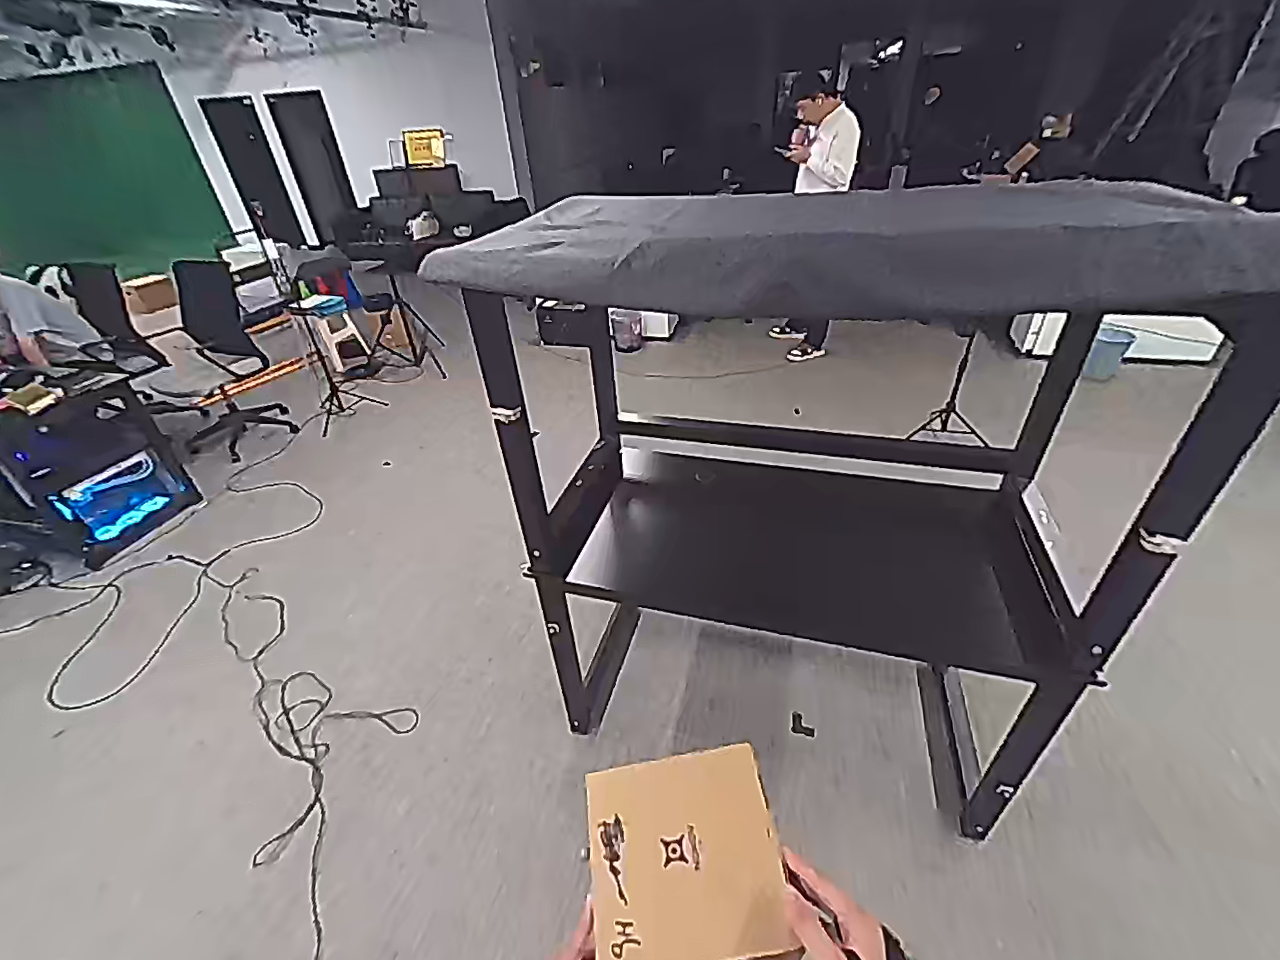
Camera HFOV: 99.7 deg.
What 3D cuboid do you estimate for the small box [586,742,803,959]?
[{"bbox_3d":[0.048,0.396,0.549,0.179,0.176,0.168,-10,41,-1],"label":"small box"}]
